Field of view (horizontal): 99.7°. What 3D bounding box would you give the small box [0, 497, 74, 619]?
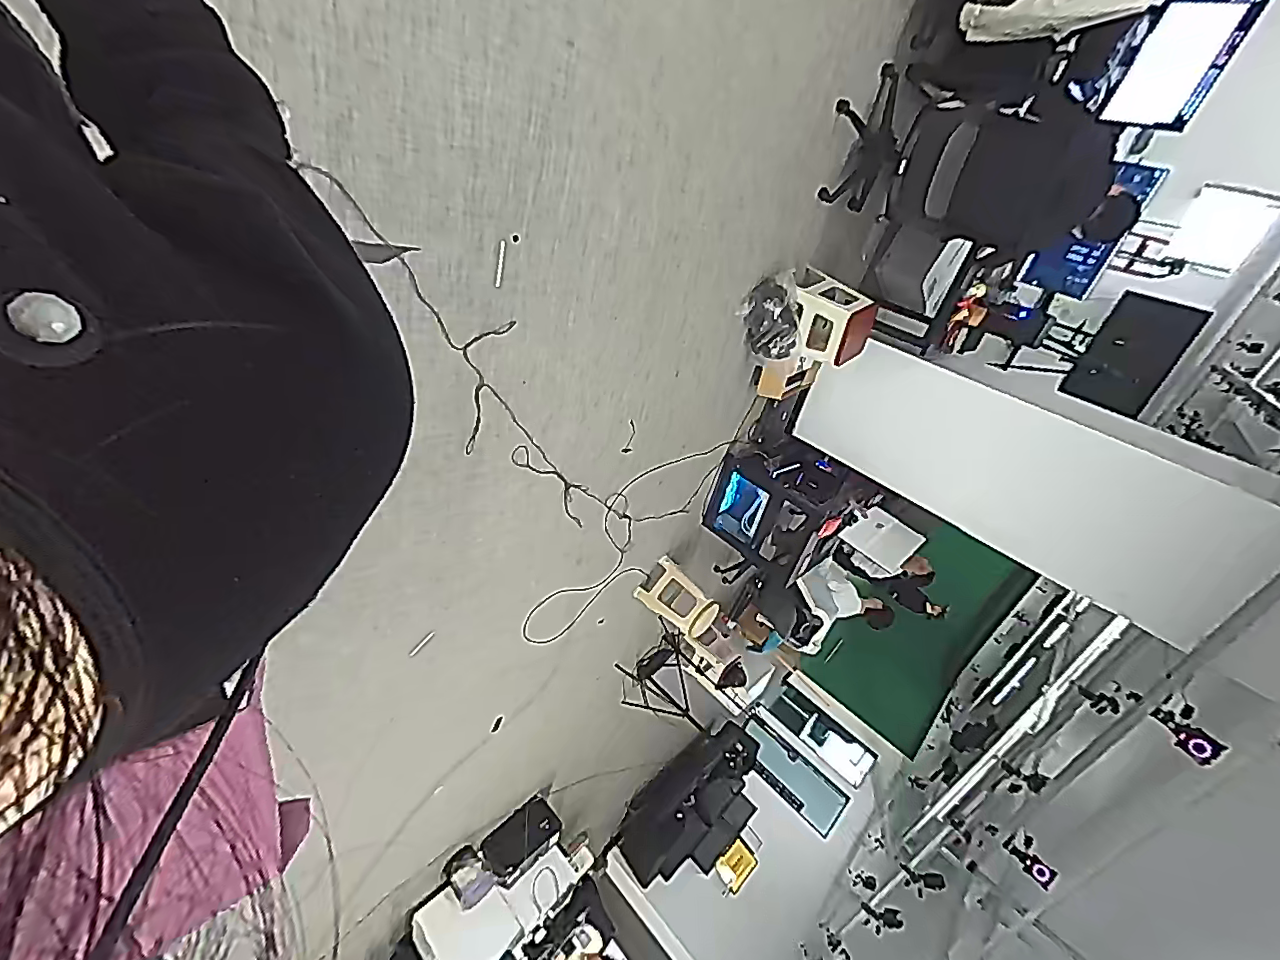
[{"bbox_3d":[-1.307,0.162,1.111,0.168,0.176,0.179,-17,134,-46],"label":"small box"}]
